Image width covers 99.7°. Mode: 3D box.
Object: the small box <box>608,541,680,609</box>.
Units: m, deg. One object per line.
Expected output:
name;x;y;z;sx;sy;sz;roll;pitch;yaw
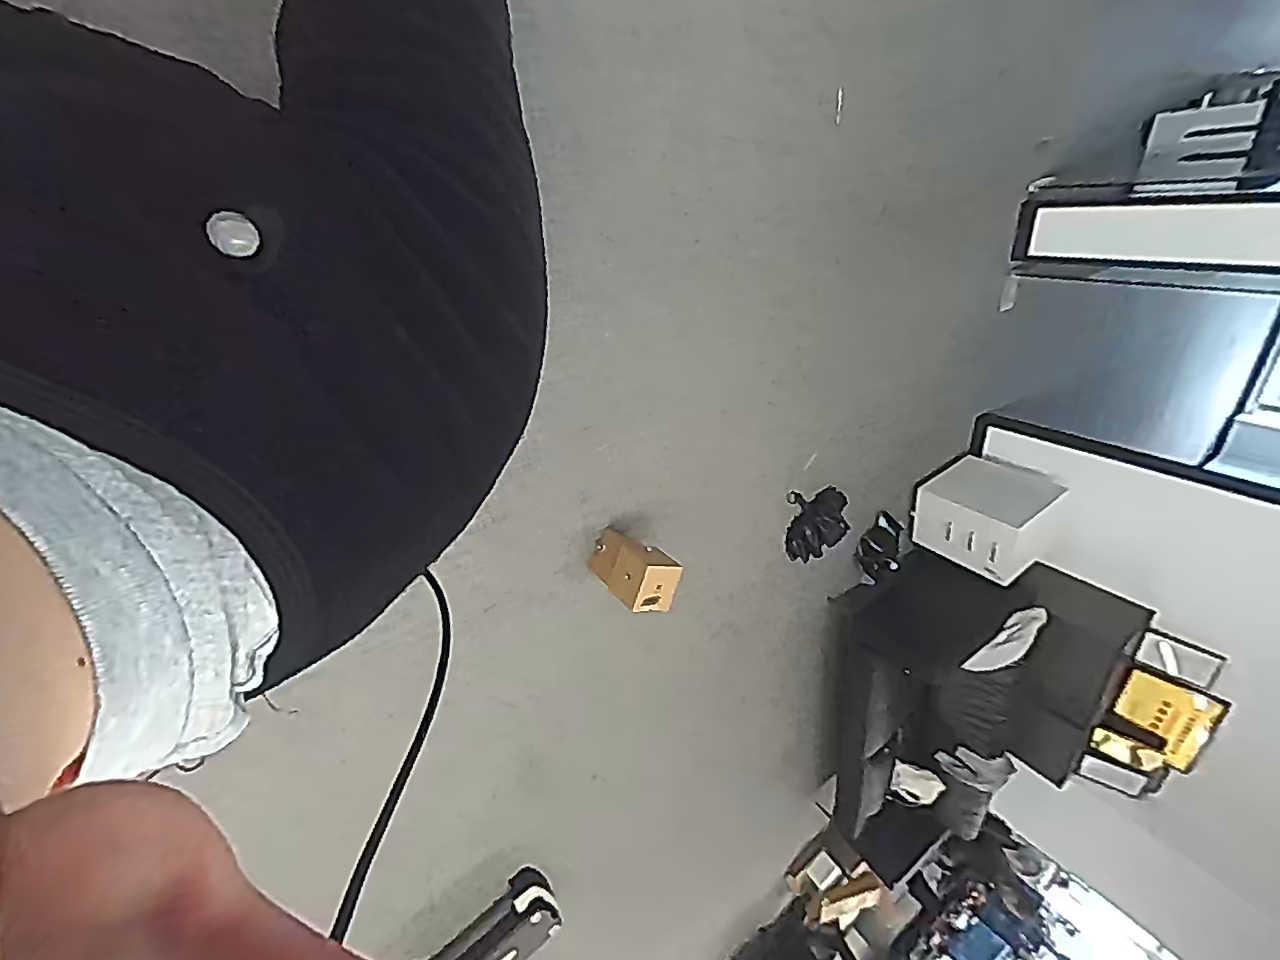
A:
small box;0.008;0.333;1.902;0.168;0.176;0.179;9;104;-39

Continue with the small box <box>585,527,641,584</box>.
small box;-0.075;0.296;2.042;0.179;0.176;0.168;25;95;-40
